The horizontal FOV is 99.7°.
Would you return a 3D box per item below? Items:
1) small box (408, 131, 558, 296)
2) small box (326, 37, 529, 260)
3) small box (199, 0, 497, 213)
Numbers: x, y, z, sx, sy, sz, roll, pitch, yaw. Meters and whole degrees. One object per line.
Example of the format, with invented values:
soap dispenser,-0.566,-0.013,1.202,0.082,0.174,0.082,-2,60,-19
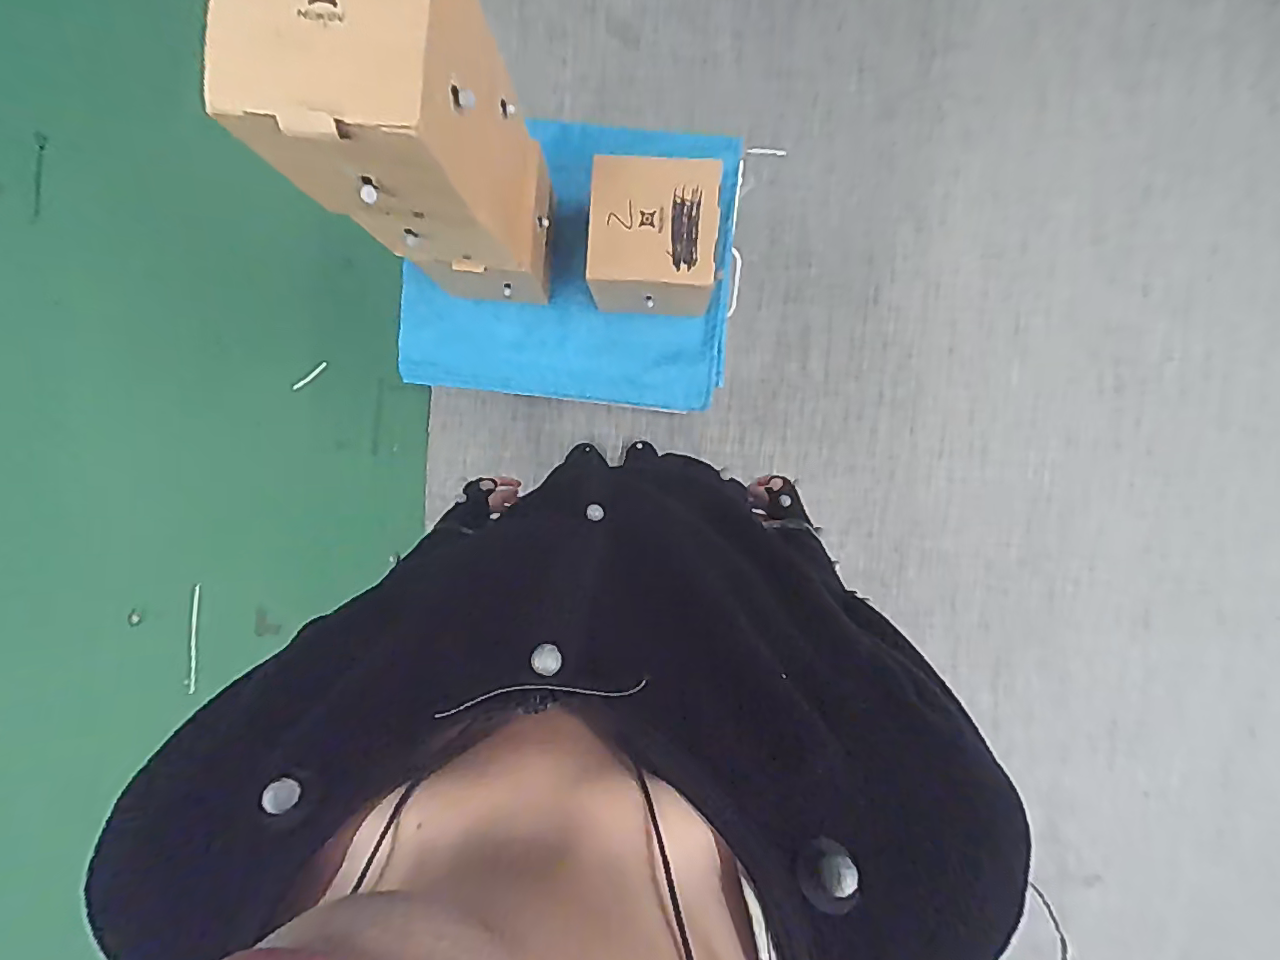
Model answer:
small box,-0.220,-0.386,0.797,0.168,0.176,0.179,6,92,0
small box,-0.235,-0.379,0.636,0.168,0.176,0.179,7,92,0
small box,-0.233,-0.361,0.473,0.168,0.176,0.179,7,92,0
